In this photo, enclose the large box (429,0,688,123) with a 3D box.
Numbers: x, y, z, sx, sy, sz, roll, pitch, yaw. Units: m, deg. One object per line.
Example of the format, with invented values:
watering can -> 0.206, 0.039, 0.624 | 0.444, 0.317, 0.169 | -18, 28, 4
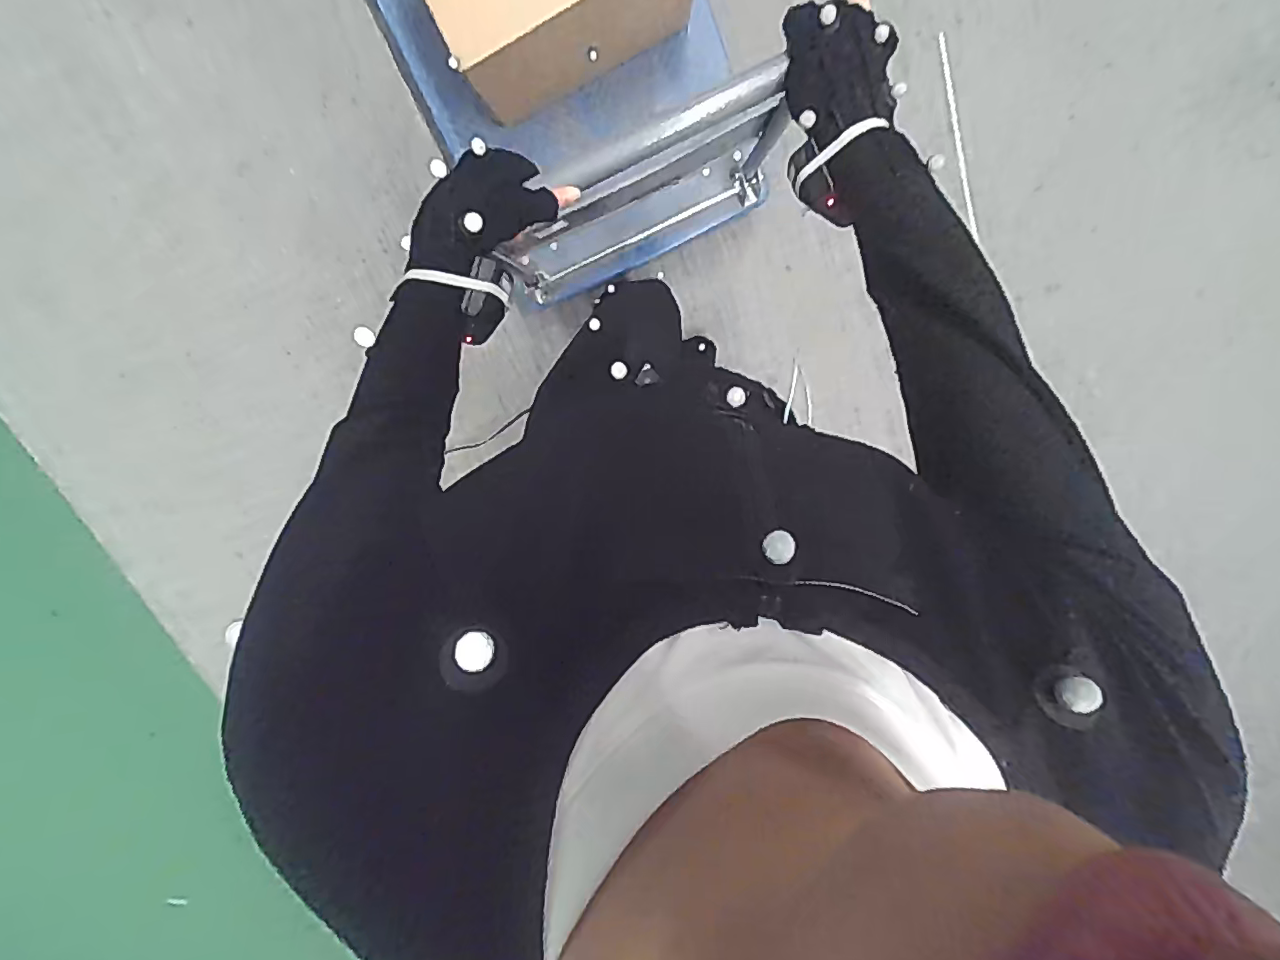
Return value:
large box -> -0.152, -0.872, 0.873 | 0.408, 0.320, 0.320 | -25, 107, 8
